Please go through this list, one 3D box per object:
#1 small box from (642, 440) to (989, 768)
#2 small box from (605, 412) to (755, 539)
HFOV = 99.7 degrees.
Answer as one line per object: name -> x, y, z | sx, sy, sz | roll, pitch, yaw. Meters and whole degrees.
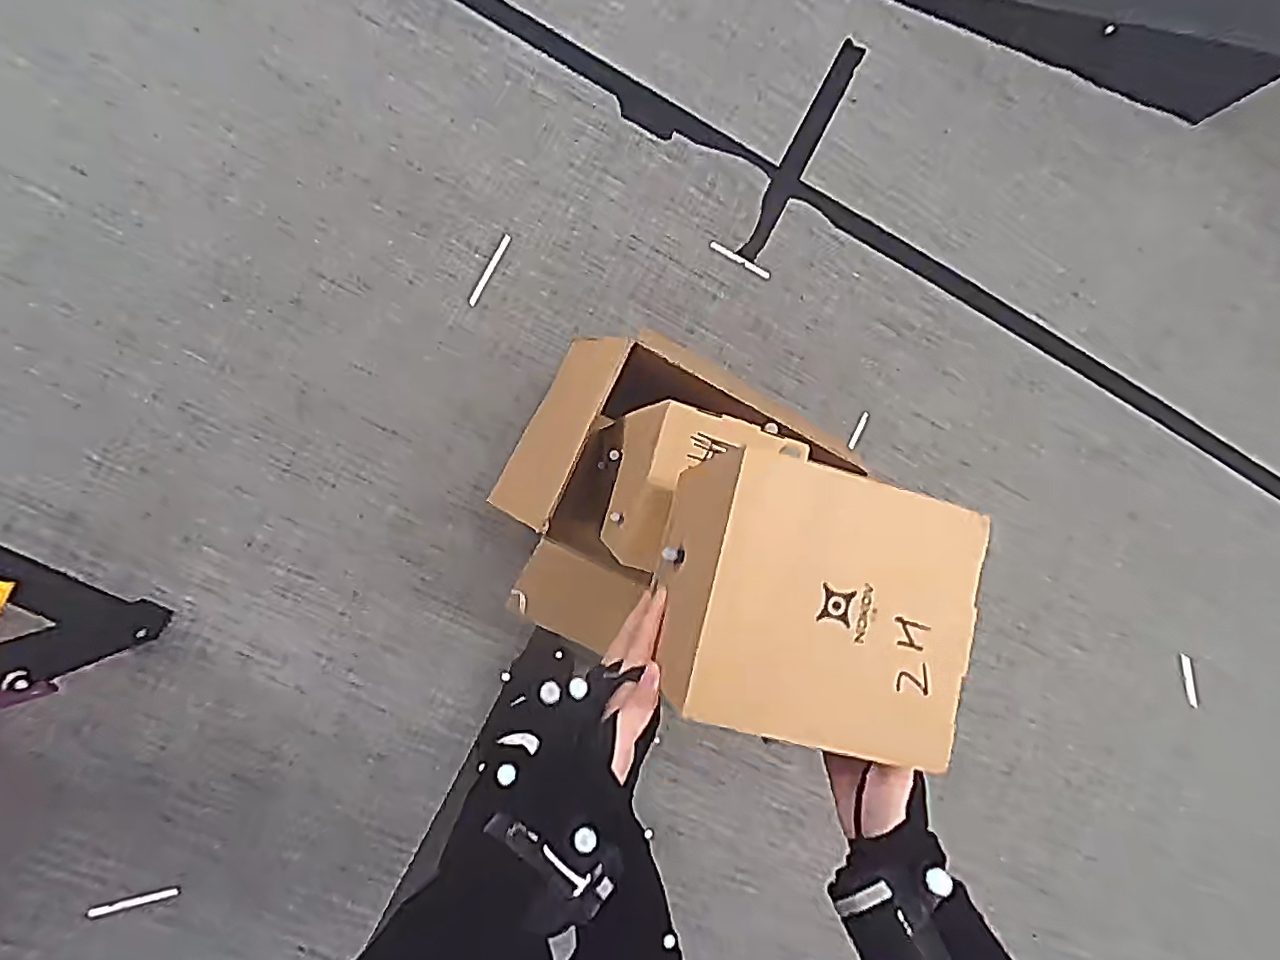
small box -> 0.111, 0.083, 0.408 | 0.179, 0.176, 0.168 | 16, 83, -8
small box -> 0.049, -0.002, 0.801 | 0.179, 0.176, 0.168 | 6, 91, -12
